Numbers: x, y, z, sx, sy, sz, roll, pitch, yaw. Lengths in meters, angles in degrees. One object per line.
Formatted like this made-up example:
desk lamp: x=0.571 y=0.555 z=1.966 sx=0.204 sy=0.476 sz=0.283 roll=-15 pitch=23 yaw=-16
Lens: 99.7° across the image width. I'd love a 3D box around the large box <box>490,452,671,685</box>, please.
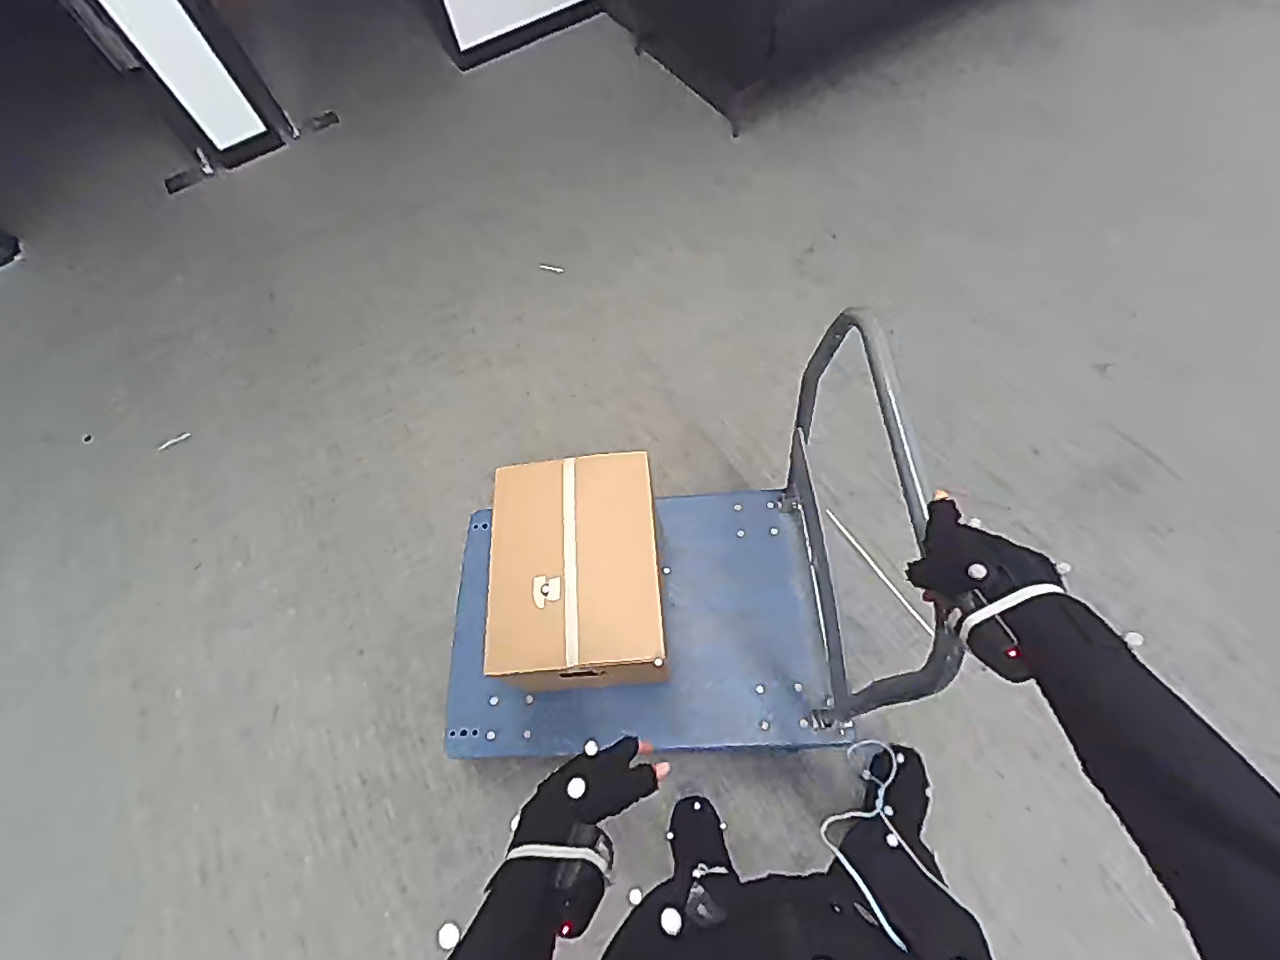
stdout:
large box: x=-0.111 y=0.198 z=1.142 sx=0.320 sy=0.320 sz=0.408 roll=-6 pitch=64 yaw=4
